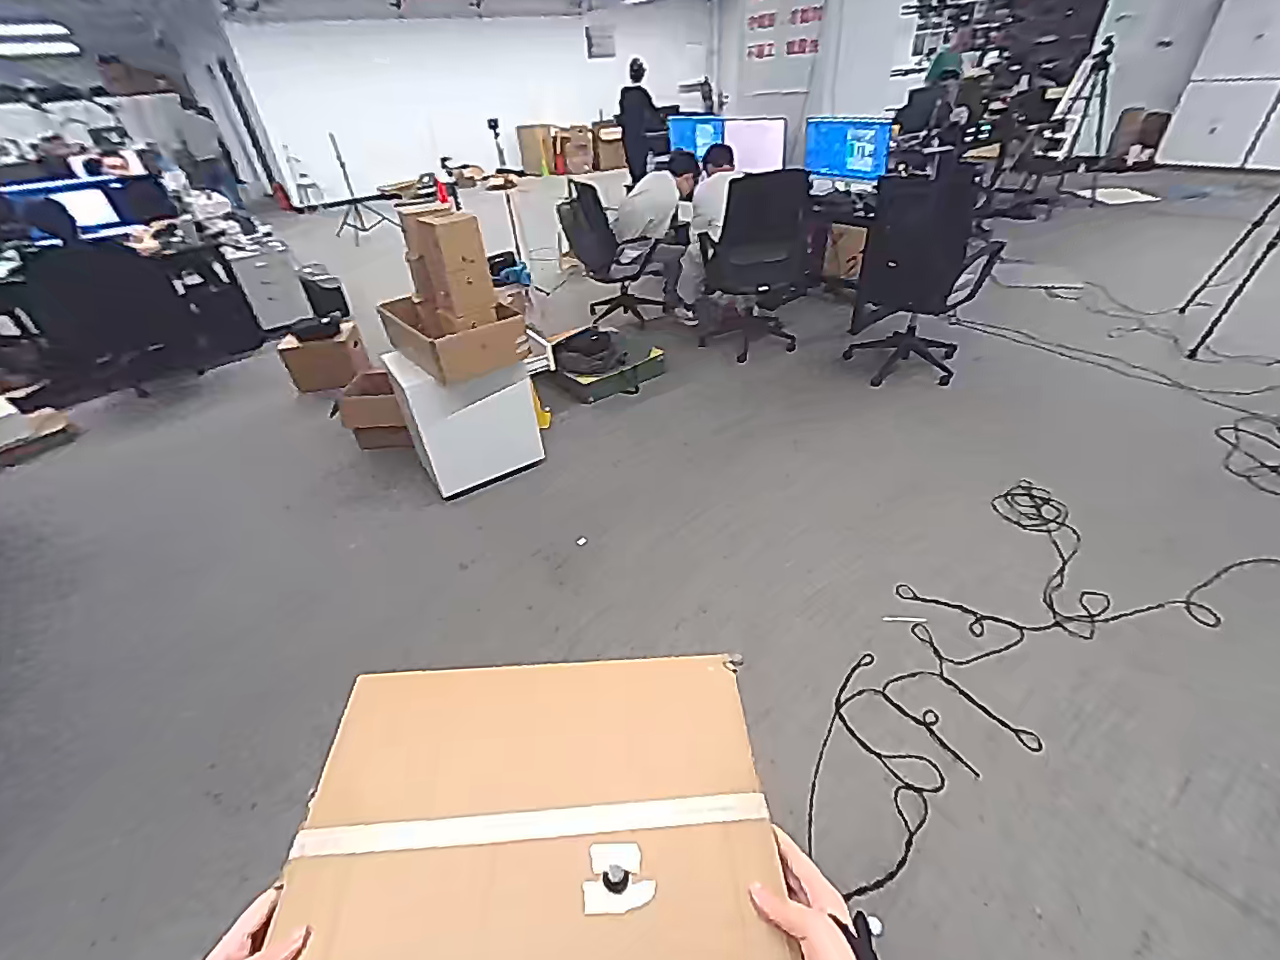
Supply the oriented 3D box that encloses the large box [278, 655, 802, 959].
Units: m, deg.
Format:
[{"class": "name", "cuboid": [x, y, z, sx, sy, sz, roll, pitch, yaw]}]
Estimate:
[{"class": "large box", "cuboid": [-0.089, 0.419, 0.581, 0.408, 0.320, 0.320, -1, 40, -5]}]
